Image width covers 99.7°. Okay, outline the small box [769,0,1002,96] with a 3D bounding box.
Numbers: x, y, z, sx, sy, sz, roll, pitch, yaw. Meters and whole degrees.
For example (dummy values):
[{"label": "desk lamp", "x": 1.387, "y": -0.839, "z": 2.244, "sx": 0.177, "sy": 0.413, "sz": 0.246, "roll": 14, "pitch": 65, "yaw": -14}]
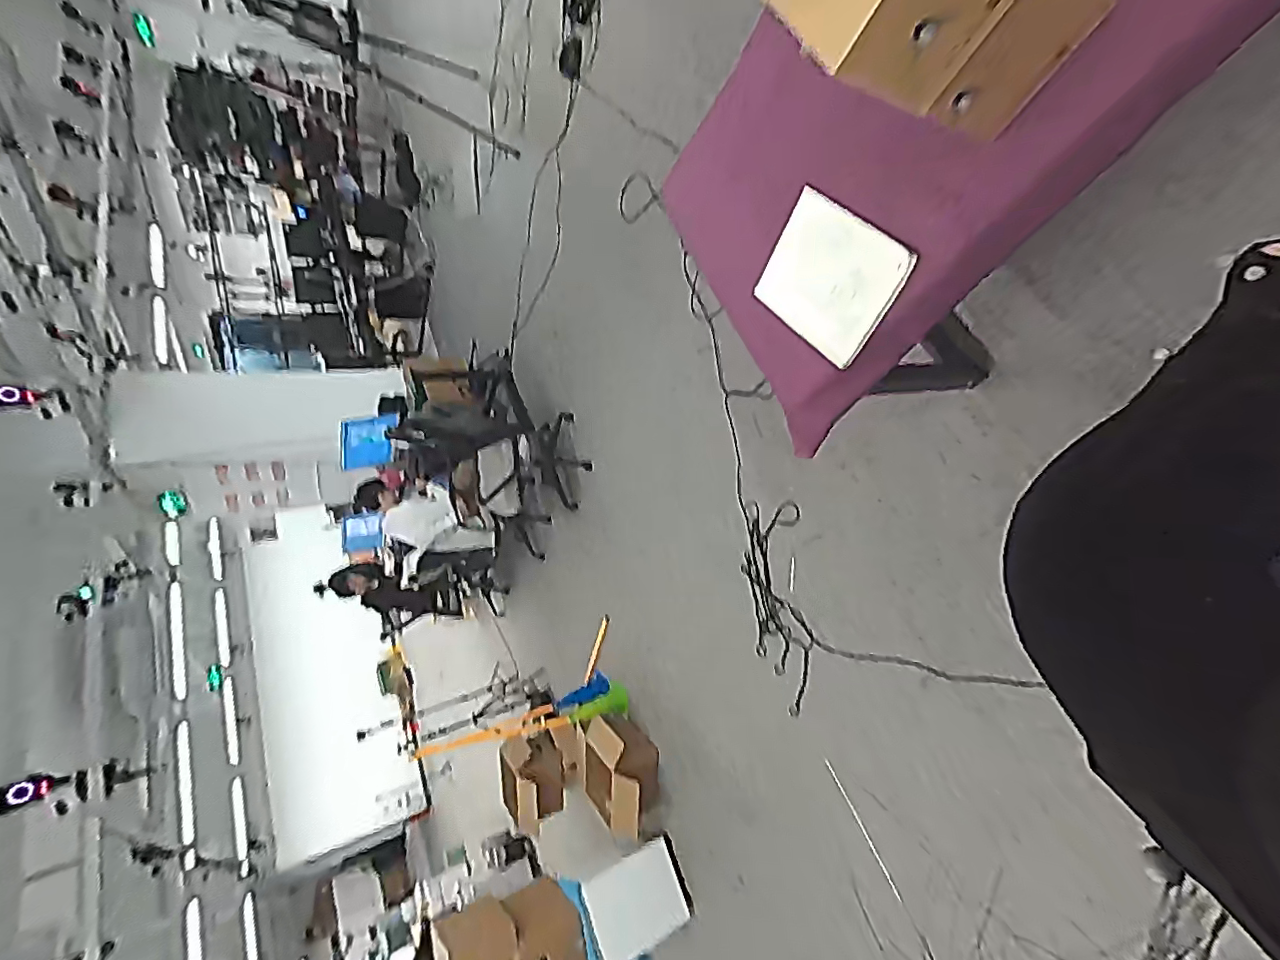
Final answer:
[{"label": "small box", "x": 0.261, "y": -0.531, "z": 0.551, "sx": 0.168, "sy": 0.176, "sz": 0.179, "roll": -52, "pitch": 53, "yaw": 49}]
